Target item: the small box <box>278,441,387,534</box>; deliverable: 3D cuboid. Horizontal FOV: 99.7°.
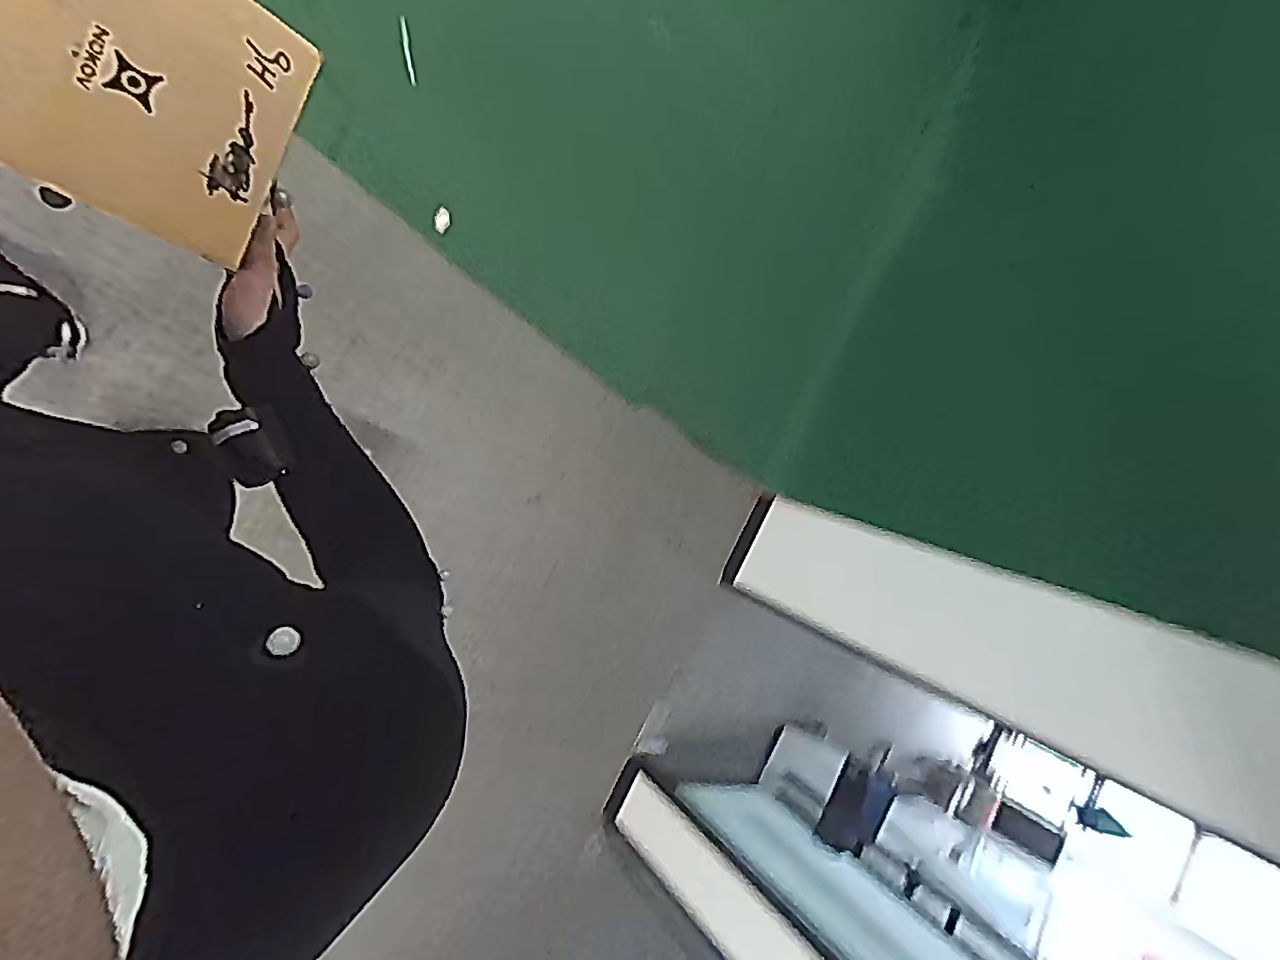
[{"bbox_3d":[-0.793,0.014,1.384,0.179,0.176,0.168,35,81,-41],"label":"small box"}]
